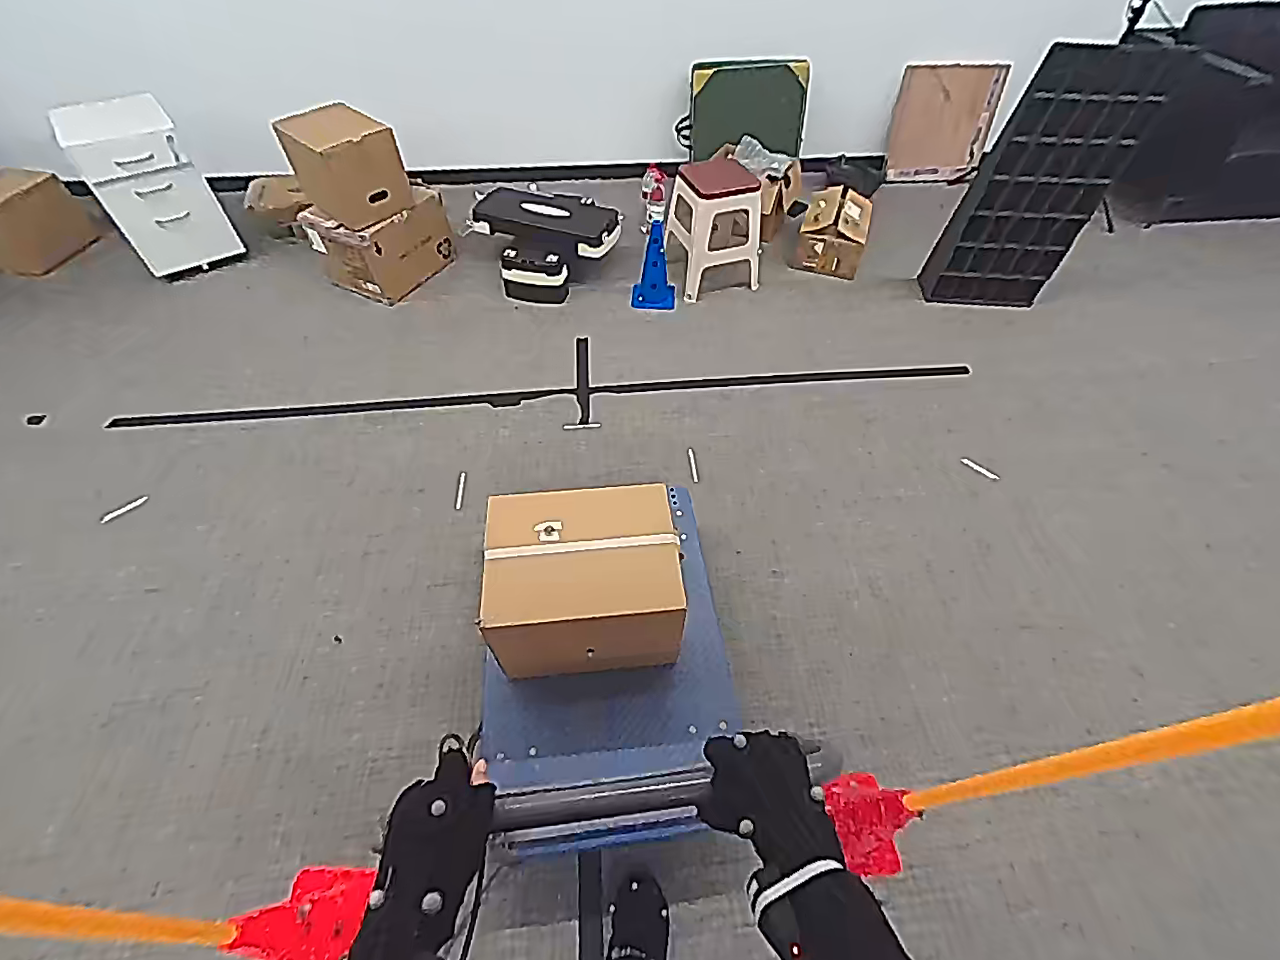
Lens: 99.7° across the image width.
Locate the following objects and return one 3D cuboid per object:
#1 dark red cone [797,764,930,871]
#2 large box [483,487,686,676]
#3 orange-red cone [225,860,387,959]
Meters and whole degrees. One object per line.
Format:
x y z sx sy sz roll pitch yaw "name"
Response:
0.478 0.661 1.097 0.201 0.394 0.202 -2 52 -5 "dark red cone"
-0.122 0.241 1.258 0.408 0.320 0.320 -4 53 -4 "large box"
-0.642 0.804 0.989 0.198 0.360 0.199 3 50 0 "orange-red cone"
